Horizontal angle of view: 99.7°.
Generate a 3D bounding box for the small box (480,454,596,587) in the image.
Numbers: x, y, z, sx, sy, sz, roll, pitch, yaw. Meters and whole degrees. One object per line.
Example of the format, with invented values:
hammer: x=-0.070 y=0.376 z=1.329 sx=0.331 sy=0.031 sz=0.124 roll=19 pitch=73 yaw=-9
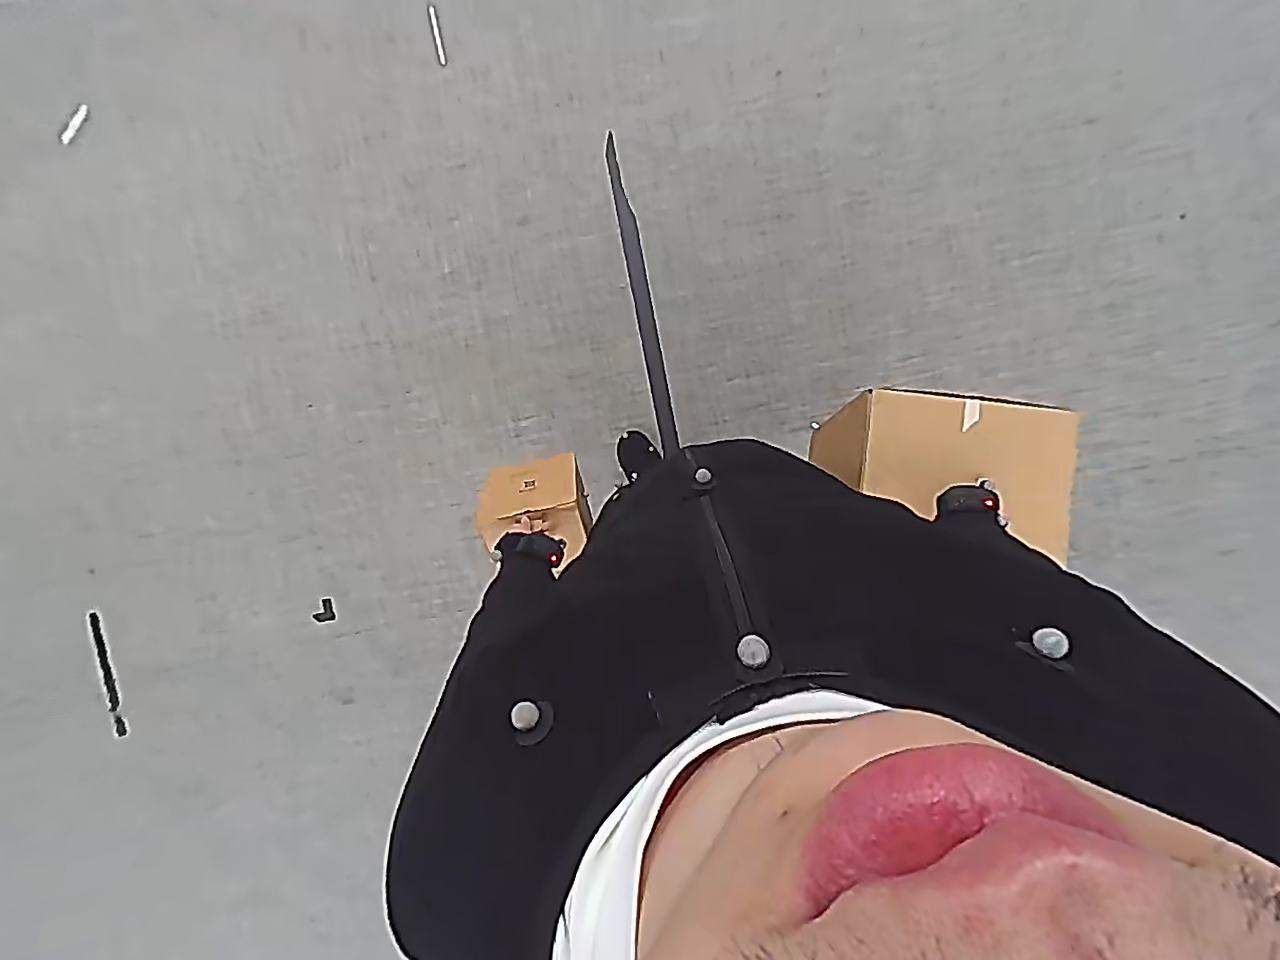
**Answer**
small box: x=-0.180 y=0.079 z=0.999 sx=0.168 sy=0.179 sz=0.176 roll=-12 pitch=120 yaw=-1
